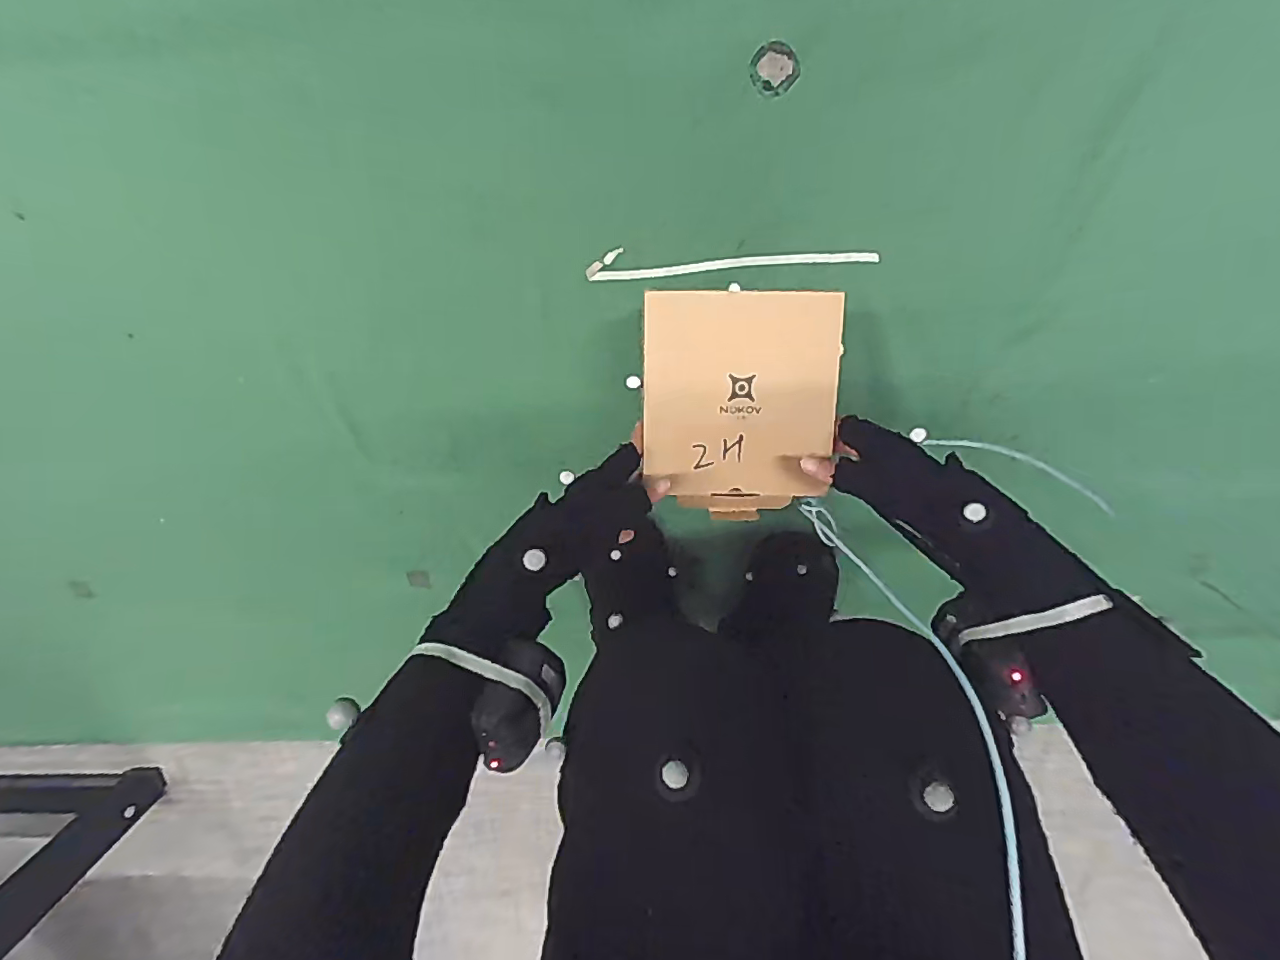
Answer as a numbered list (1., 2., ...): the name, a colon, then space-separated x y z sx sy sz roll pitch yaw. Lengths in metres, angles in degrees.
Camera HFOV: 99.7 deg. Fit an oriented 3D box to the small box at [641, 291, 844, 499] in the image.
1. small box: 0.085 -0.086 0.536 0.168 0.176 0.179 0 104 0
